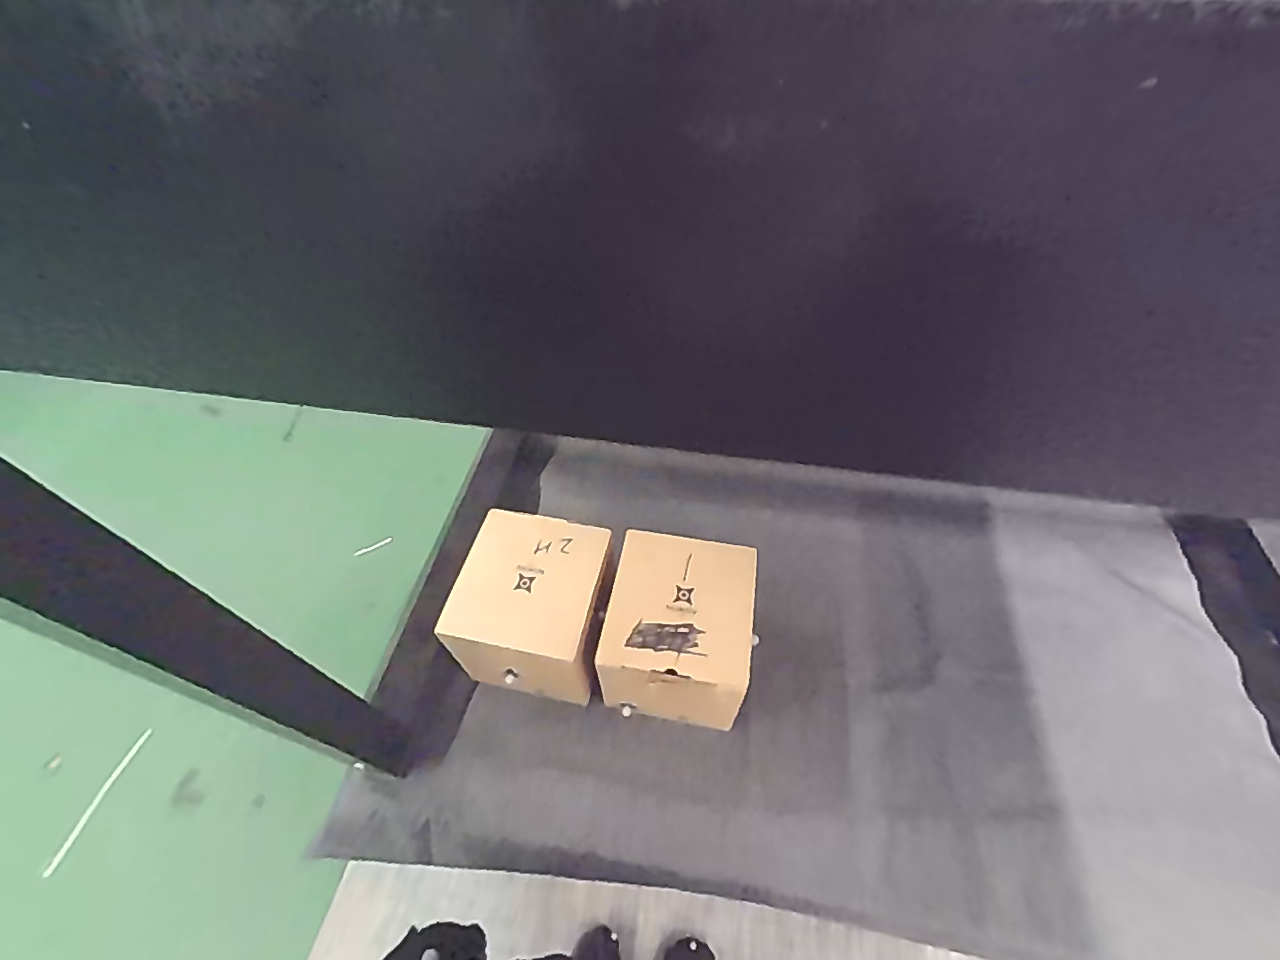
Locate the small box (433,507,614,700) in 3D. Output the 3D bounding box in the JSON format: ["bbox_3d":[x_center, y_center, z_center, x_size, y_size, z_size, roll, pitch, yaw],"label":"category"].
[{"bbox_3d":[-0.132,0.164,0.699,0.168,0.176,0.179,10,53,8],"label":"small box"}]
